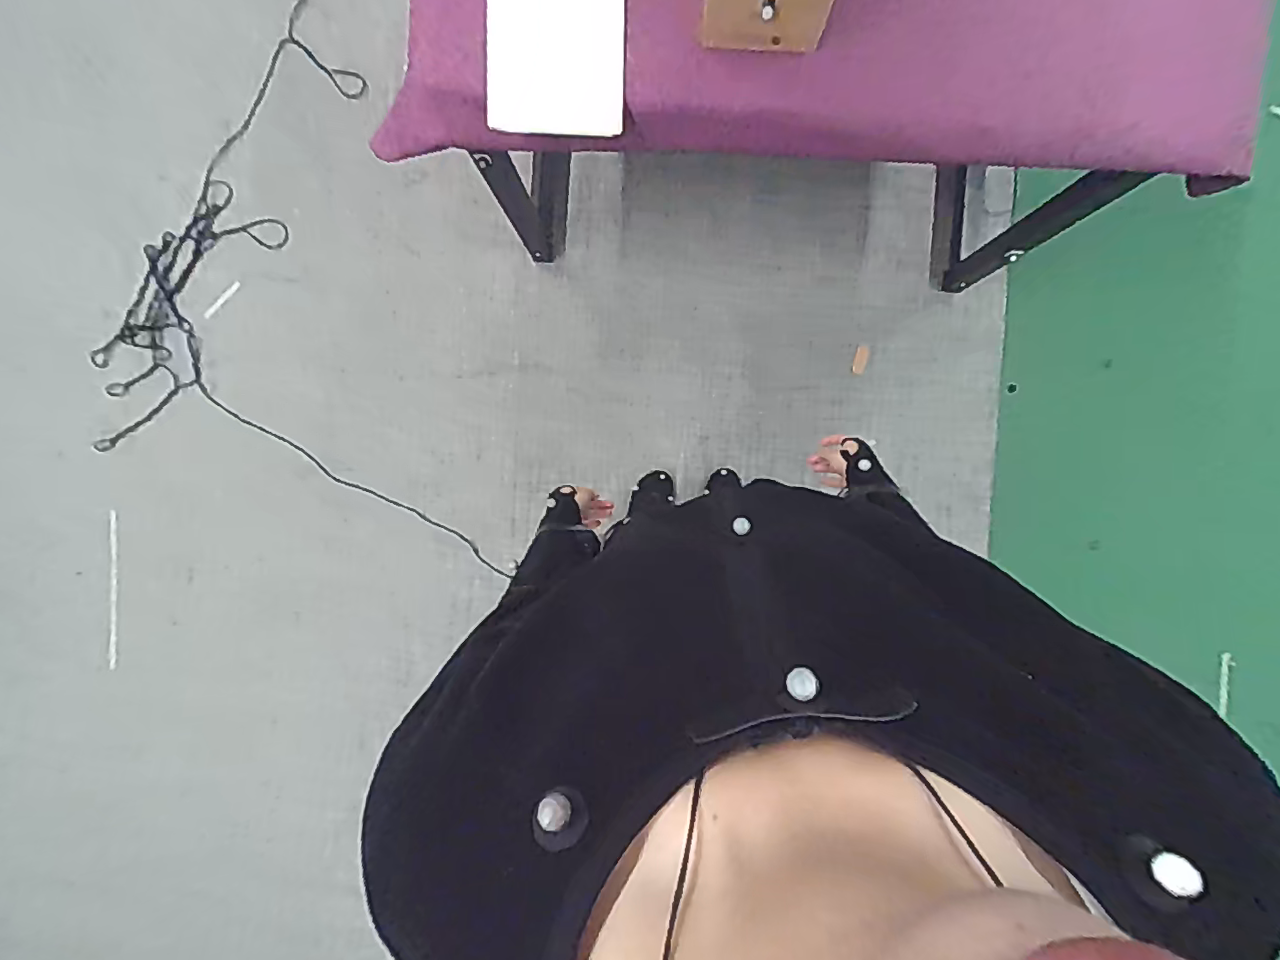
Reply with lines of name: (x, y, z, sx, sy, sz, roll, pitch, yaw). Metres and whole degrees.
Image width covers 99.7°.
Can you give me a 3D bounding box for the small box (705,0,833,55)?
small box: (0.177, -0.701, 0.704, 0.168, 0.176, 0.179, 5, 91, 2)
